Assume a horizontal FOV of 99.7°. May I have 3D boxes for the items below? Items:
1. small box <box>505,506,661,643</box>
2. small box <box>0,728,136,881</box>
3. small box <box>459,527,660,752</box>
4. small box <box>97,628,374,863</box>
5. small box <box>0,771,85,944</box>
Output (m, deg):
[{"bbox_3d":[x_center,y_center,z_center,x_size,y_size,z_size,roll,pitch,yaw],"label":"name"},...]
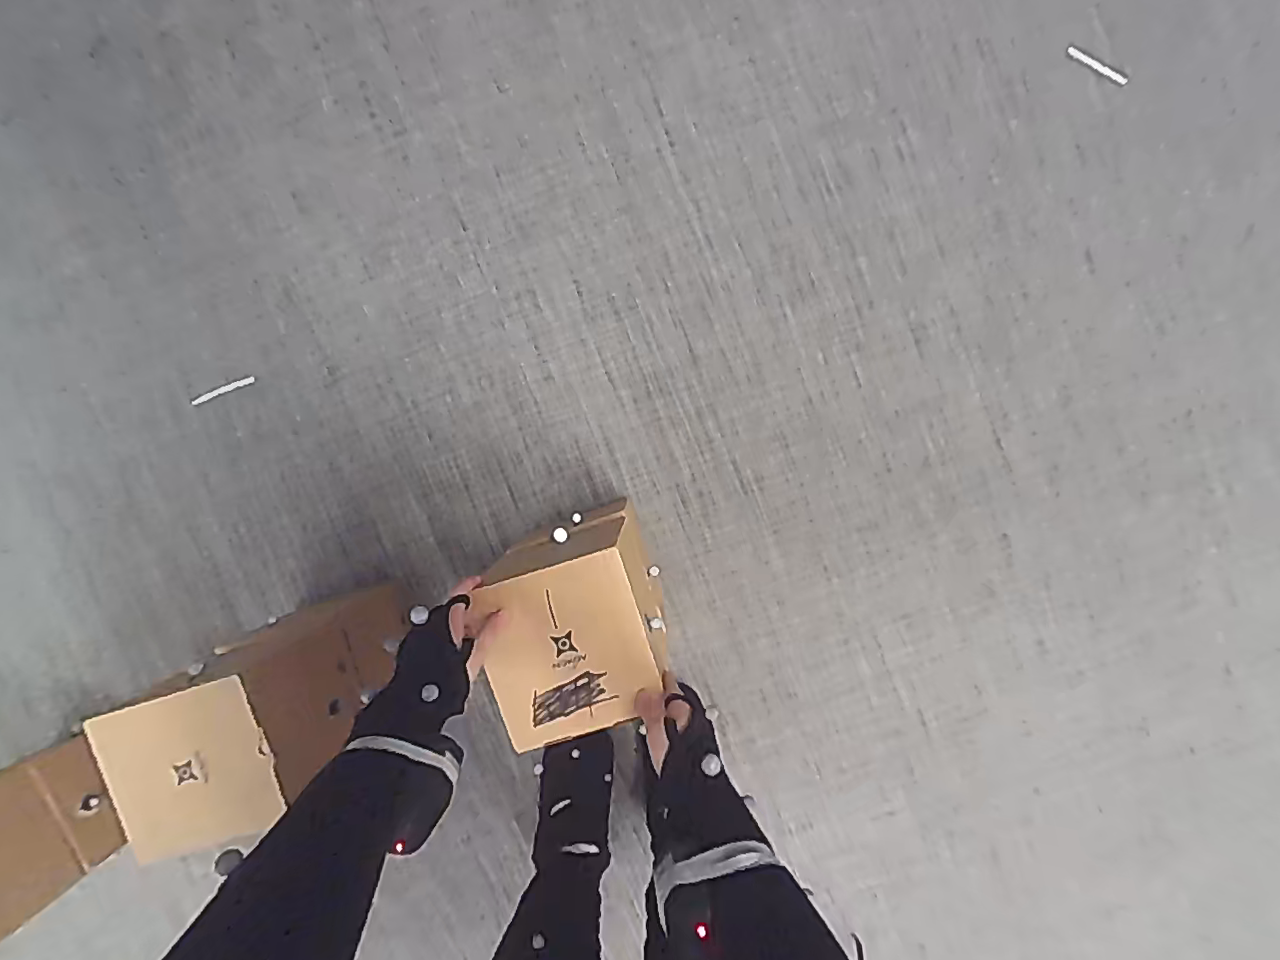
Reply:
[{"bbox_3d":[-0.072,0.150,0.787,0.168,0.176,0.179,-19,93,2],"label":"small box"},{"bbox_3d":[-0.857,0.492,0.827,0.168,0.176,0.179,-23,92,2],"label":"small box"},{"bbox_3d":[-0.076,0.168,0.621,0.168,0.176,0.179,-17,93,3],"label":"small box"},{"bbox_3d":[-0.459,0.297,0.641,0.179,0.176,0.168,-18,92,2],"label":"small box"},{"bbox_3d":[-0.860,0.506,0.663,0.168,0.176,0.179,-24,93,2],"label":"small box"}]
